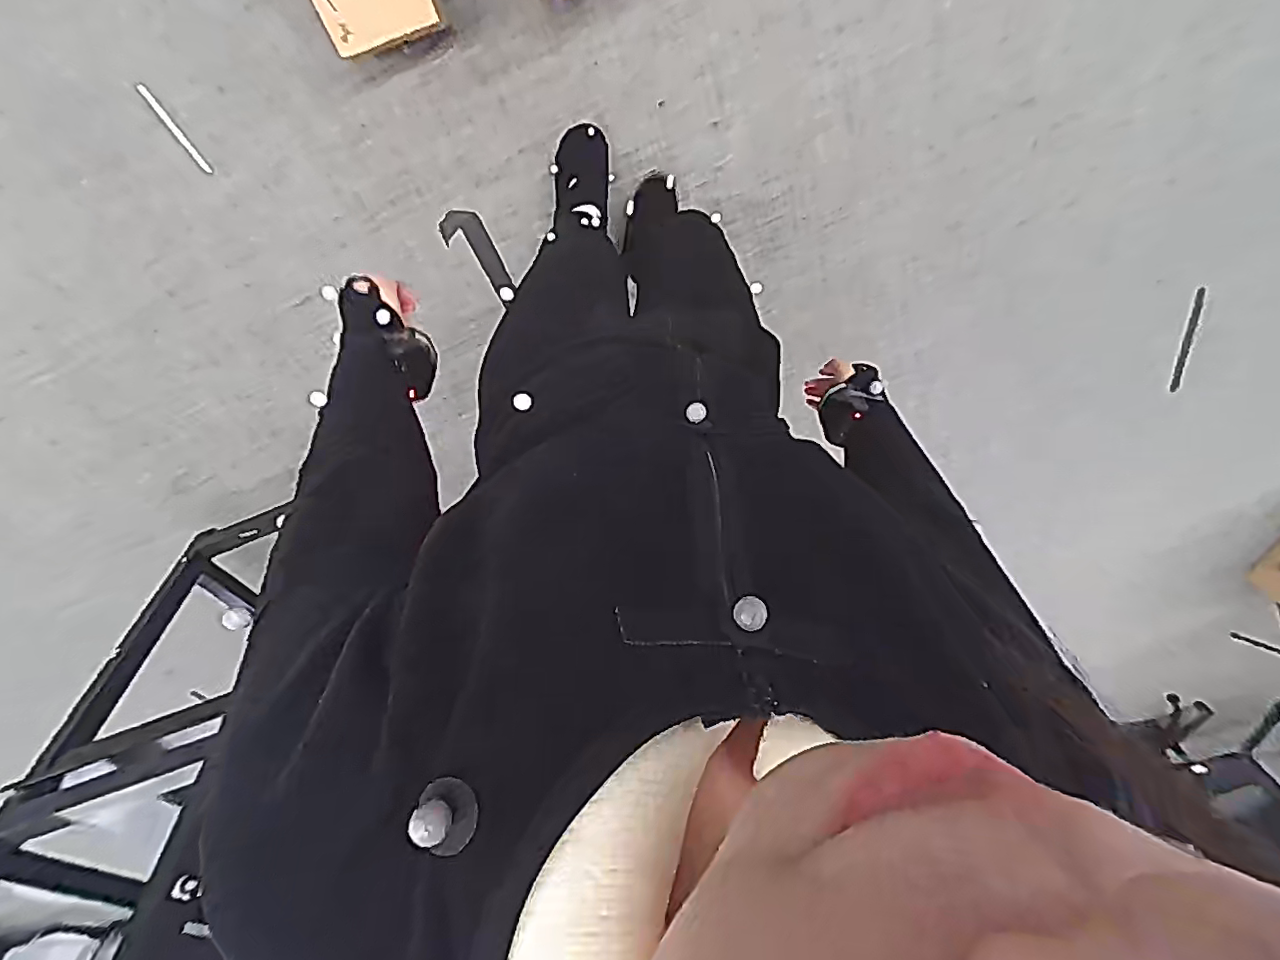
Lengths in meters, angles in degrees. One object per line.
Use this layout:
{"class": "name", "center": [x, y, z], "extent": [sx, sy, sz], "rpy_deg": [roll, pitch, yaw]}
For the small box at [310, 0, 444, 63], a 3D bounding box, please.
{"class": "small box", "center": [-0.437, -0.811, 0.883], "extent": [0.179, 0.176, 0.168], "rpy_deg": [-18, 129, 3]}
